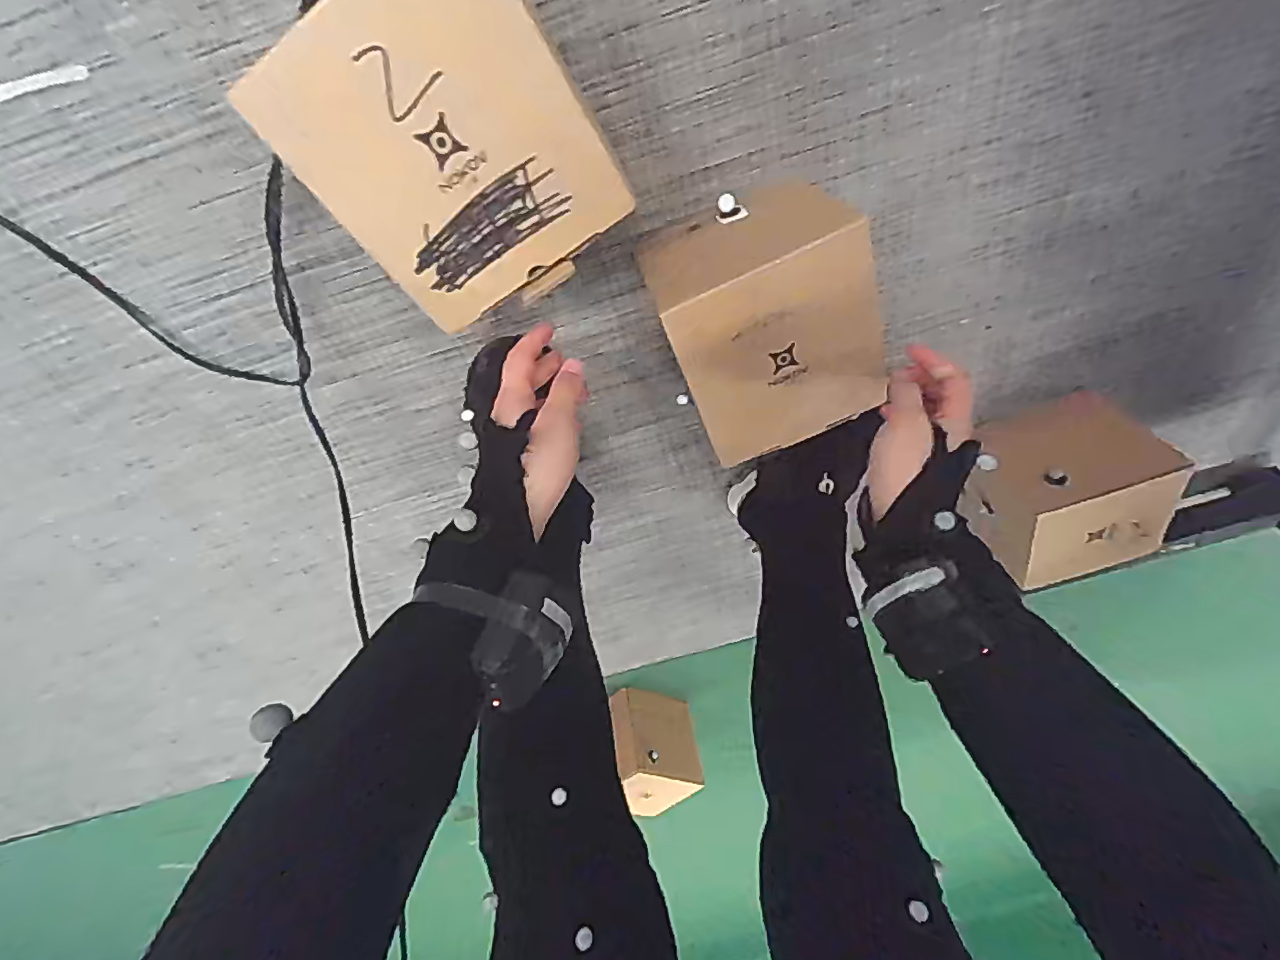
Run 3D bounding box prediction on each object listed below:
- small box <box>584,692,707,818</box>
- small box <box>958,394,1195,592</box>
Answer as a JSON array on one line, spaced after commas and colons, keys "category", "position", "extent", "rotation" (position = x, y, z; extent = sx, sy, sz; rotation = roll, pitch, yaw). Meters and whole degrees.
[{"category": "small box", "position": [0.004, 0.550, 1.086], "extent": [0.179, 0.176, 0.168], "rotation": [28, 120, -28]}, {"category": "small box", "position": [0.557, 0.015, 0.725], "extent": [0.179, 0.176, 0.168], "rotation": [-21, 131, 8]}]
